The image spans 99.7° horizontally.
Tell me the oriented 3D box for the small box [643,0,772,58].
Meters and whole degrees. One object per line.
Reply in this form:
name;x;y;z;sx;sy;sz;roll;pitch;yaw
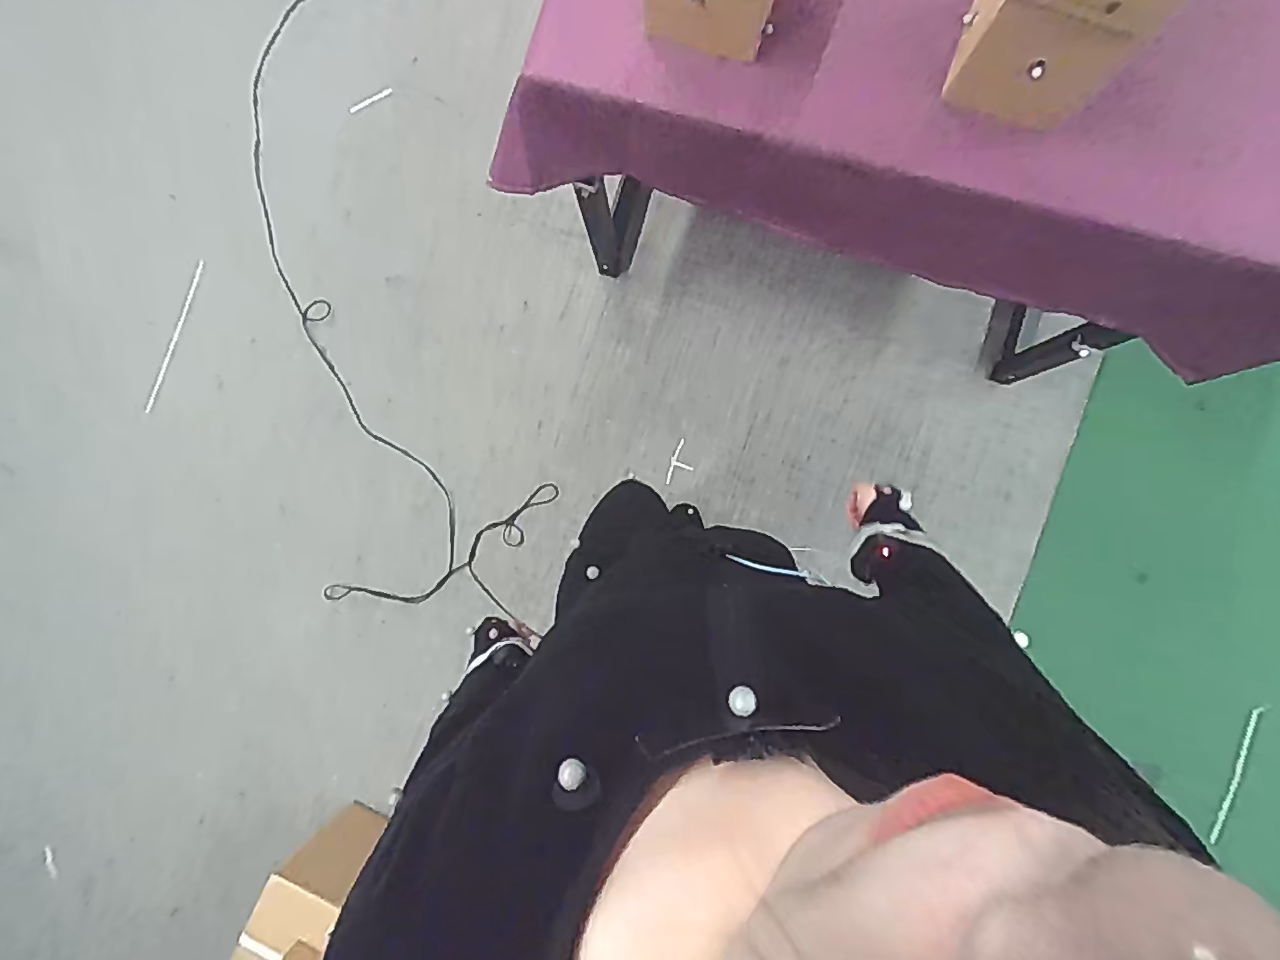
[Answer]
small box;0.108;-0.725;0.732;0.179;0.176;0.168;18;88;4

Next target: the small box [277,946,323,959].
small box;-0.734;1.119;1.105;0.179;0.176;0.168;28;92;3
